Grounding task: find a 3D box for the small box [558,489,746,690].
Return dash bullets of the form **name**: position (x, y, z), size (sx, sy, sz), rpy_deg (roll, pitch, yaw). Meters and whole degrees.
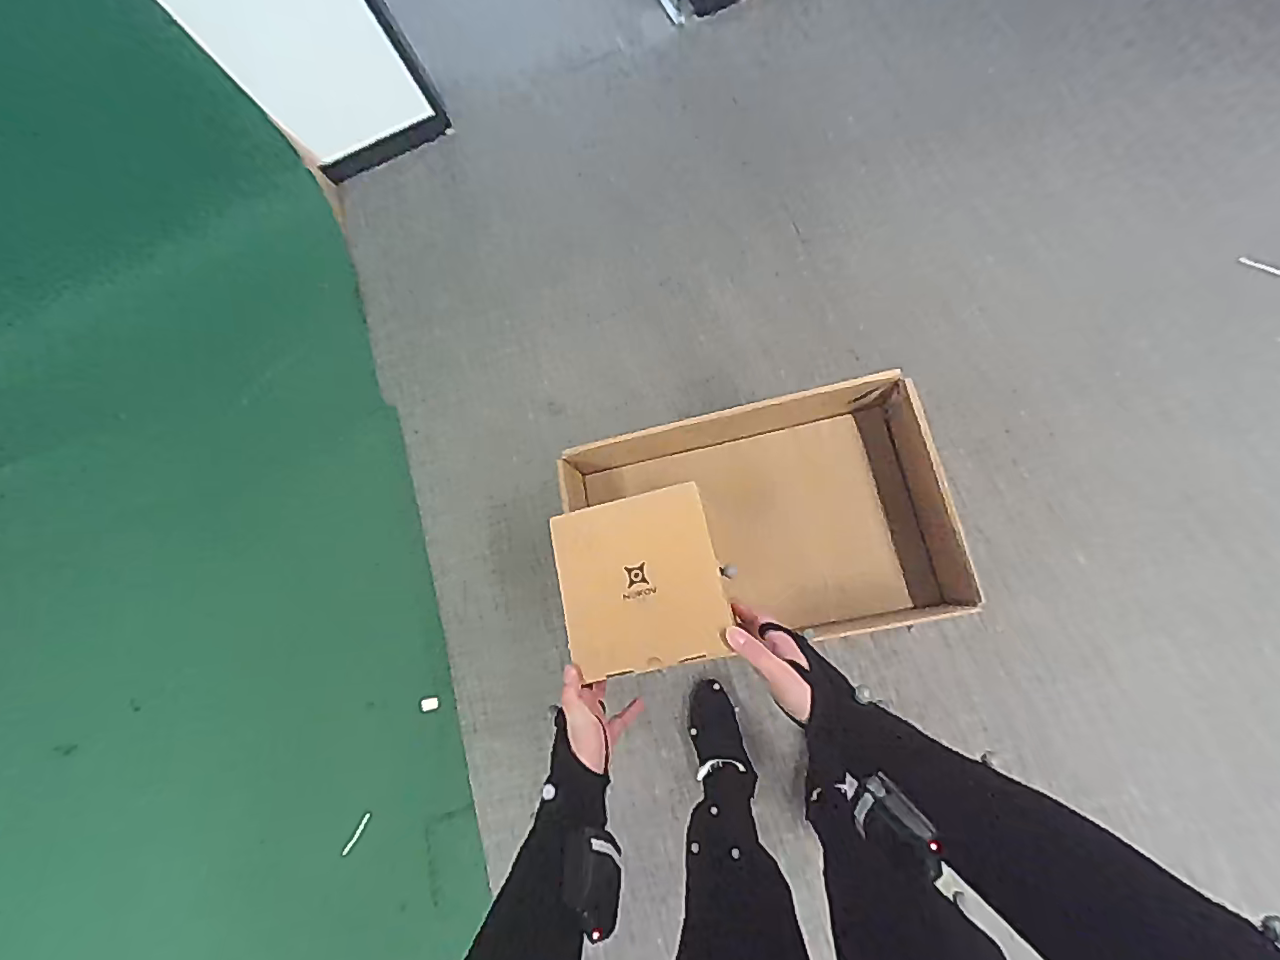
- **small box**: position (0.019, 0.127, 0.619), size (0.168, 0.176, 0.179), rpy_deg (-14, 75, 7)
